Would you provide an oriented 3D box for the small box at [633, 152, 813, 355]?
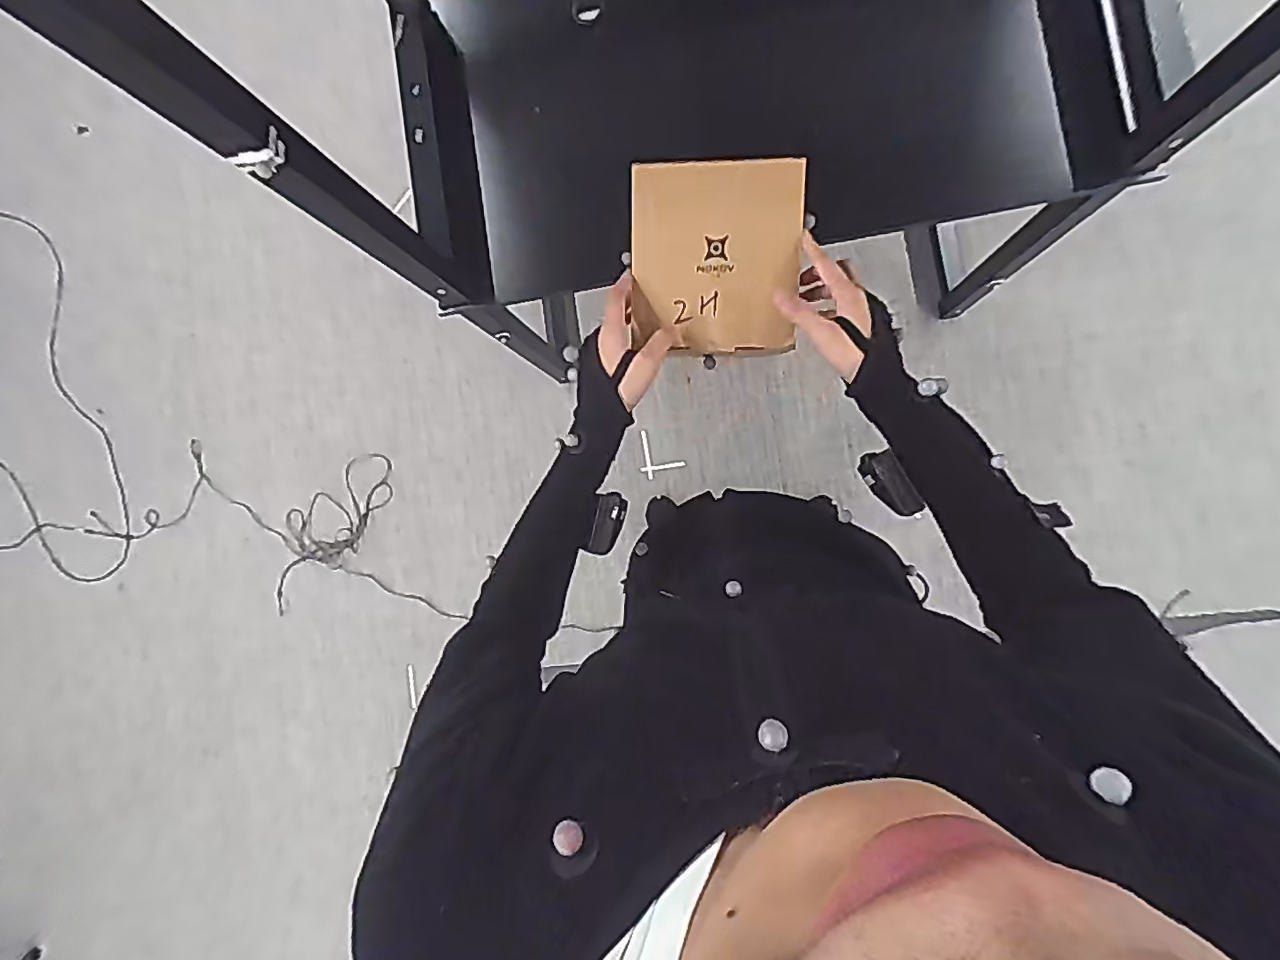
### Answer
[{"bbox_3d":[0.084,-0.232,0.594,0.168,0.176,0.179,2,101,7],"label":"small box"}]
